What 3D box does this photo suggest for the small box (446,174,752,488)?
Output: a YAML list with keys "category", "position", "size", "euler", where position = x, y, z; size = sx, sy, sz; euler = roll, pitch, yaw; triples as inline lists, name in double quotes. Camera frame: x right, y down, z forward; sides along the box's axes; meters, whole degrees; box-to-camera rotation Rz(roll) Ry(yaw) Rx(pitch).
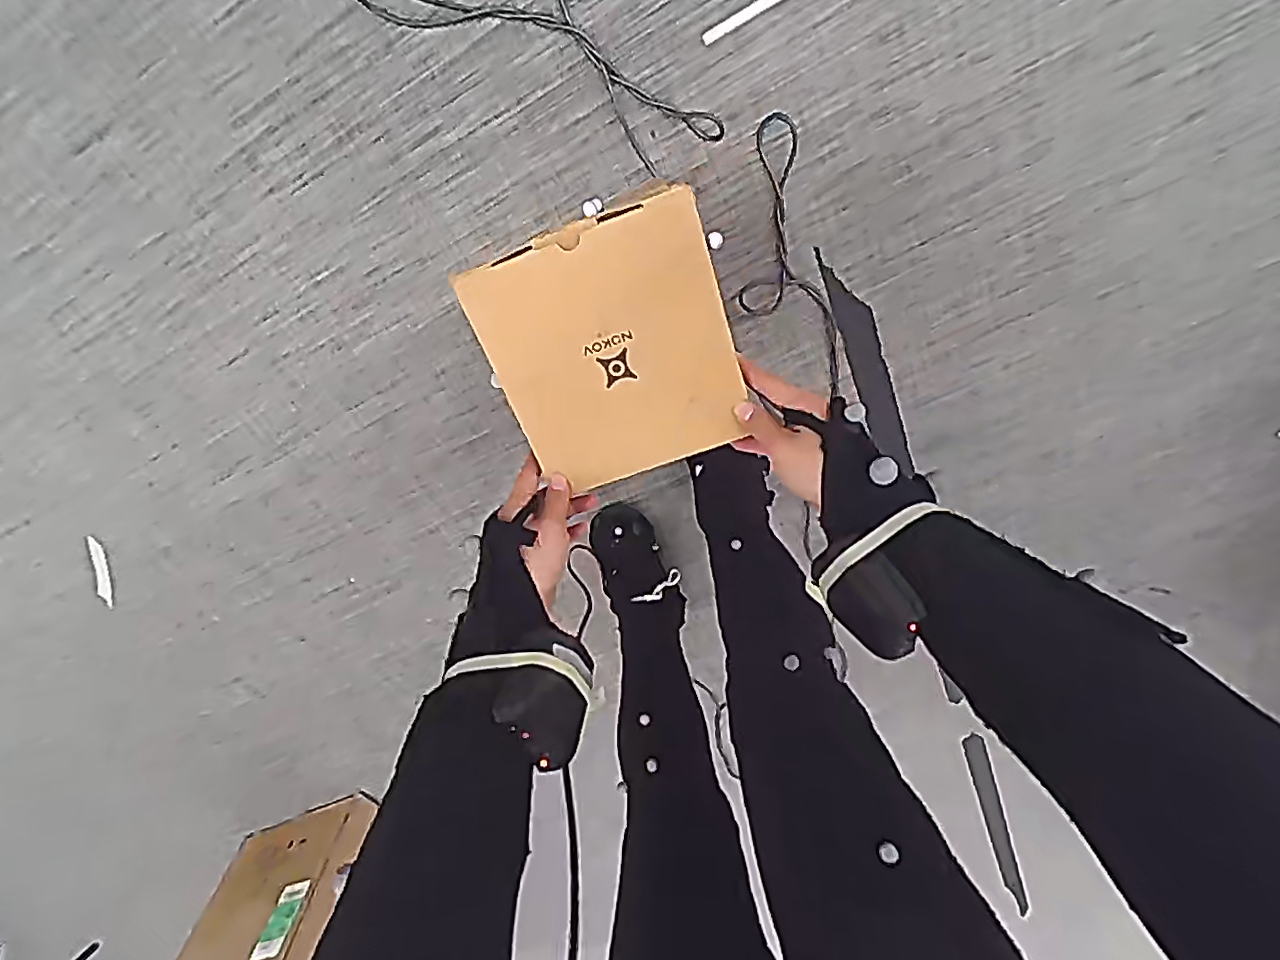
- category: "small box"
  position: [-0.021, -0.125, 0.440]
  size: [0.168, 0.176, 0.179]
  euler: [-19, 115, 8]
